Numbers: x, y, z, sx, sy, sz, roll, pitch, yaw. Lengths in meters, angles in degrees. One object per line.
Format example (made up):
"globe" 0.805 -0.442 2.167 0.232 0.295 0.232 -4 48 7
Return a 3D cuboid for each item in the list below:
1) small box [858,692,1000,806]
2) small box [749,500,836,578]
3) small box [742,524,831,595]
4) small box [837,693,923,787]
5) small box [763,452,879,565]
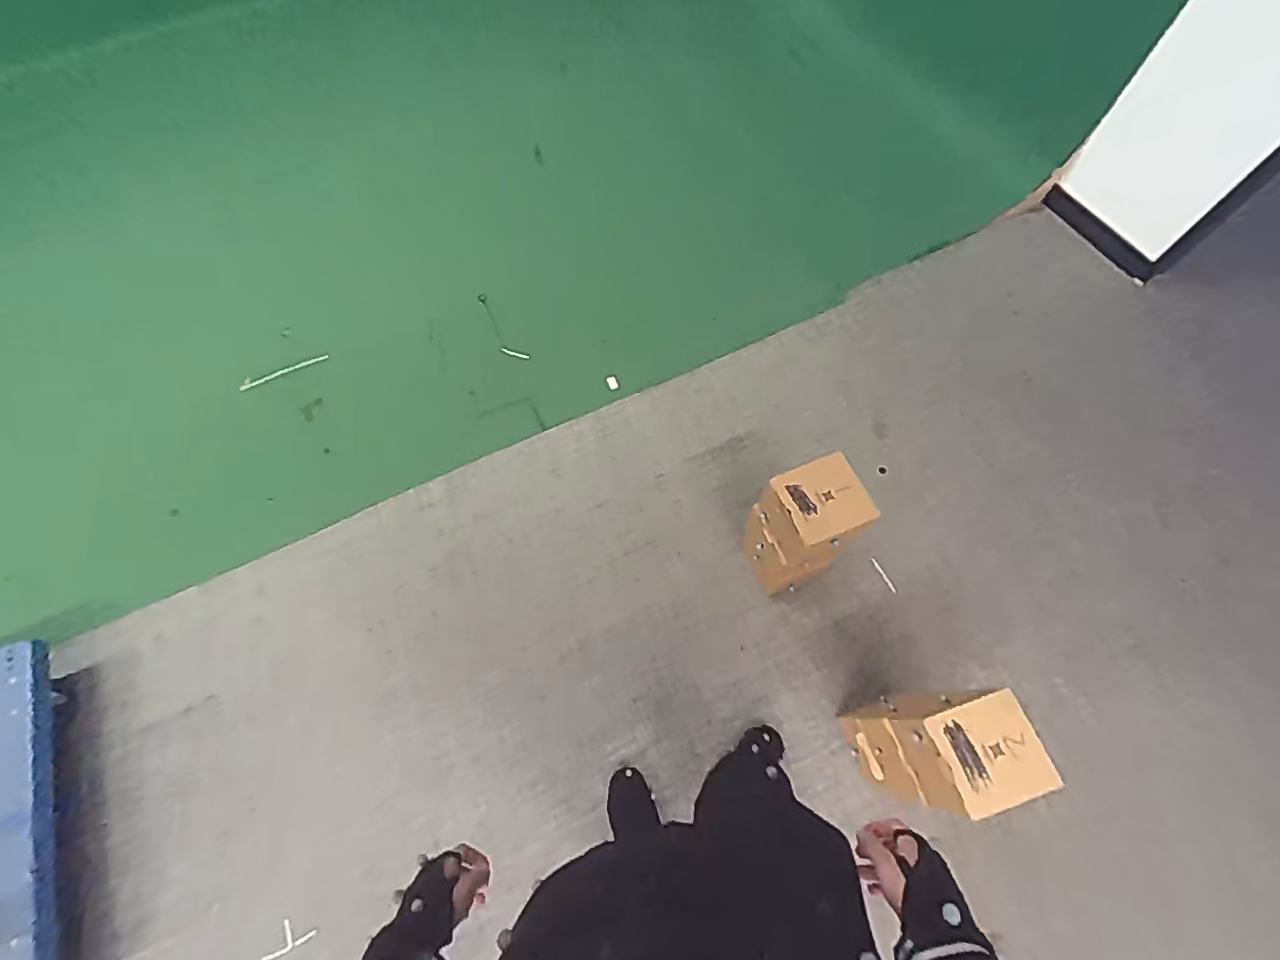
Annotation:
"small box" 0.603 0.563 1.153 0.179 0.176 0.168 -19 68 -5
"small box" 0.384 0.130 1.352 0.179 0.176 0.168 -21 67 -5
"small box" 0.397 0.198 1.500 0.168 0.176 0.179 -20 67 -5
"small box" 0.604 0.622 1.302 0.179 0.176 0.168 -14 64 -2
"small box" 0.387 0.070 1.199 0.179 0.176 0.168 -21 67 -7
